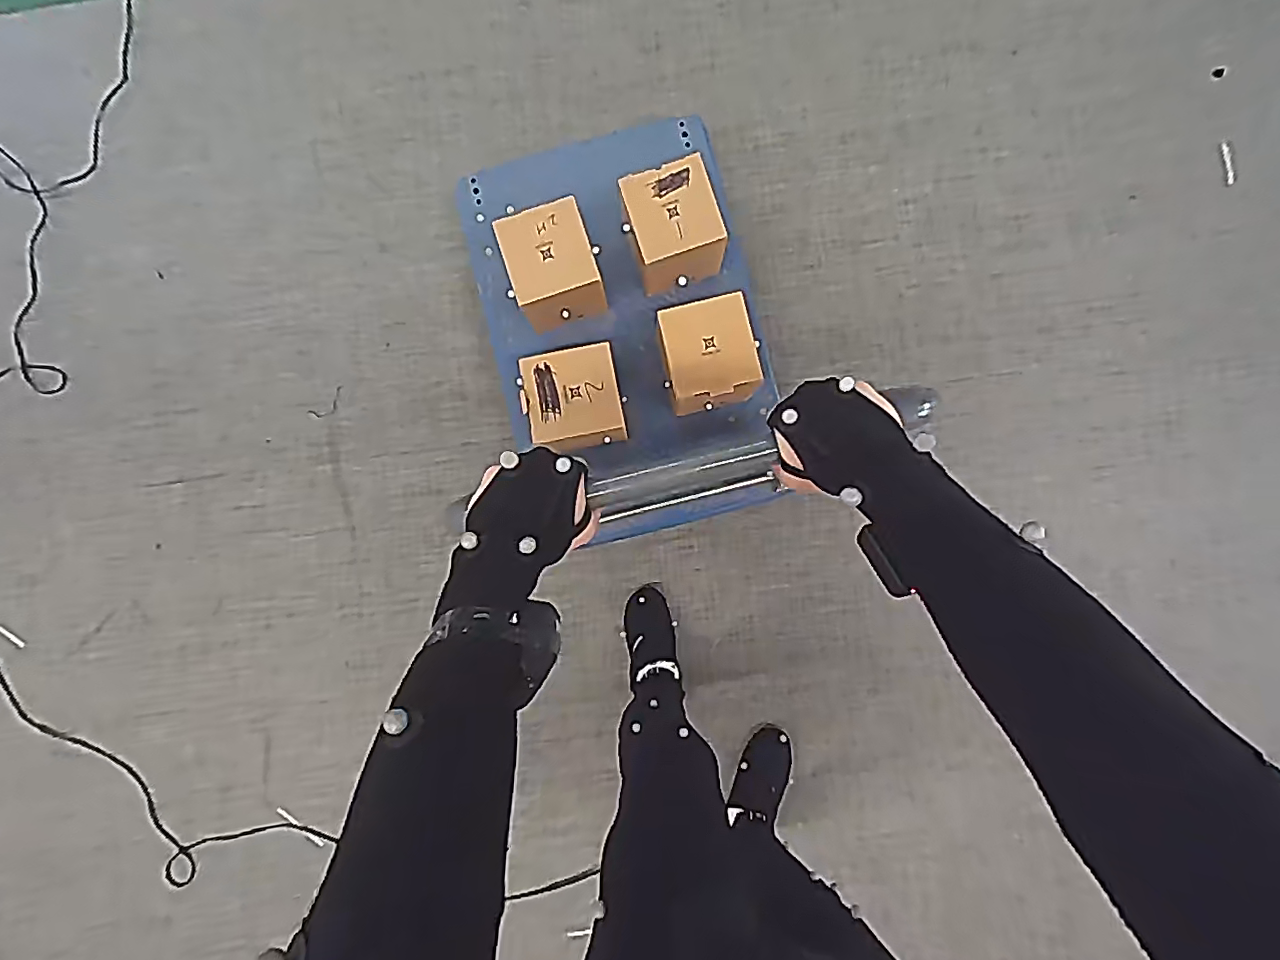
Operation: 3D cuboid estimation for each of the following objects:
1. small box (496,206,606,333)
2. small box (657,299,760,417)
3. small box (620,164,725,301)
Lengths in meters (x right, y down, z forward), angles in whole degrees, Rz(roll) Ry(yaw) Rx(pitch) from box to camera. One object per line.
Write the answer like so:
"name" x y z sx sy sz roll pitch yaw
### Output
"small box" -0.175 -0.422 1.123 0.168 0.176 0.179 -18 87 0
"small box" 0.132 -0.241 1.106 0.168 0.176 0.179 -13 87 1
"small box" 0.063 -0.502 1.121 0.168 0.176 0.179 -18 88 1
